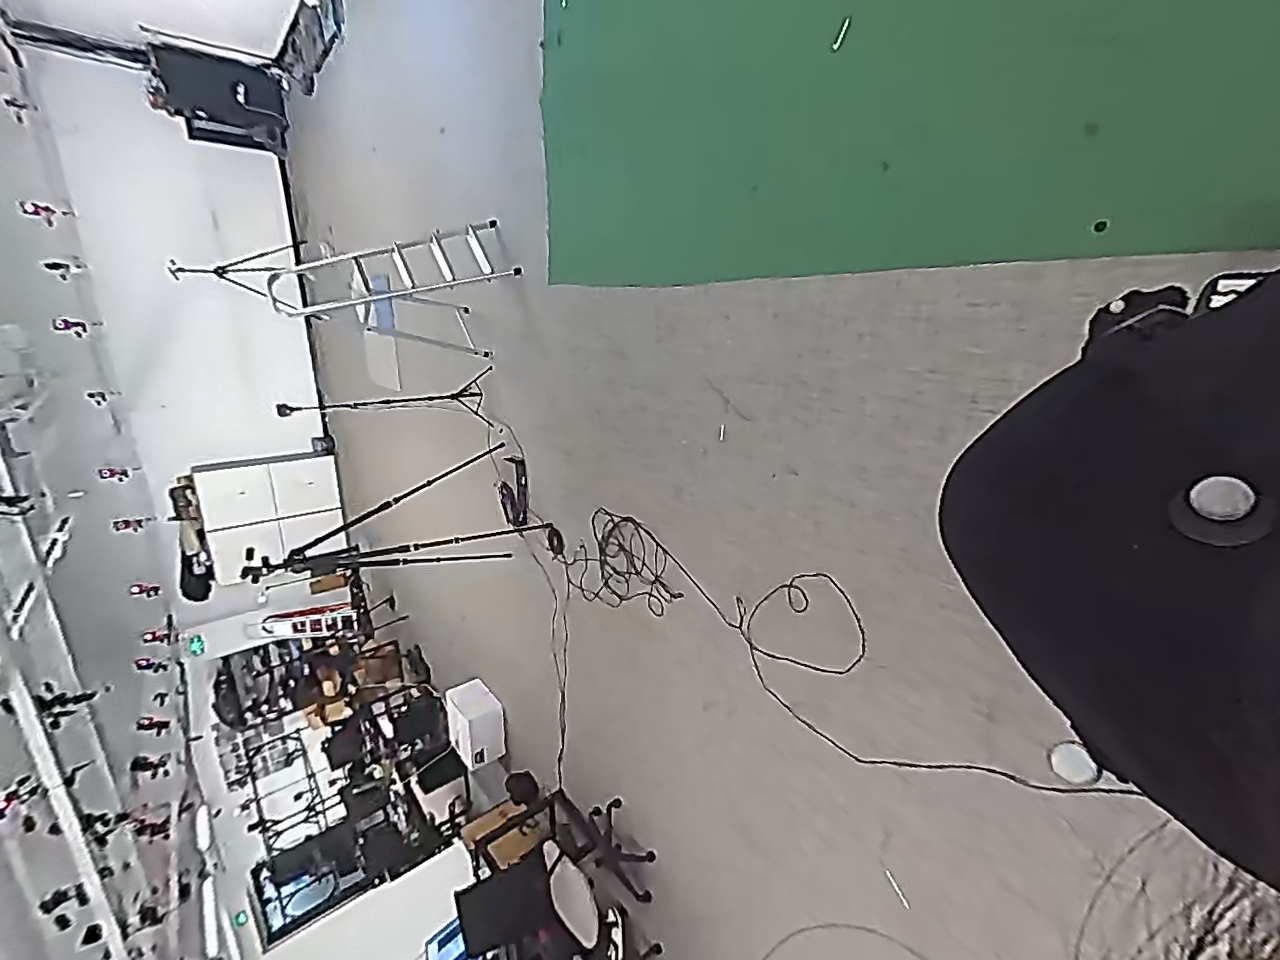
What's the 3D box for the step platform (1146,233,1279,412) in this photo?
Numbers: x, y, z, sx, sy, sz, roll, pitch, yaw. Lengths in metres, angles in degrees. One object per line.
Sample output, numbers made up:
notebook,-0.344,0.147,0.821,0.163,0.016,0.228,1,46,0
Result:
step platform,1.197,-0.217,0.760,0.684,0.204,0.286,19,116,48
